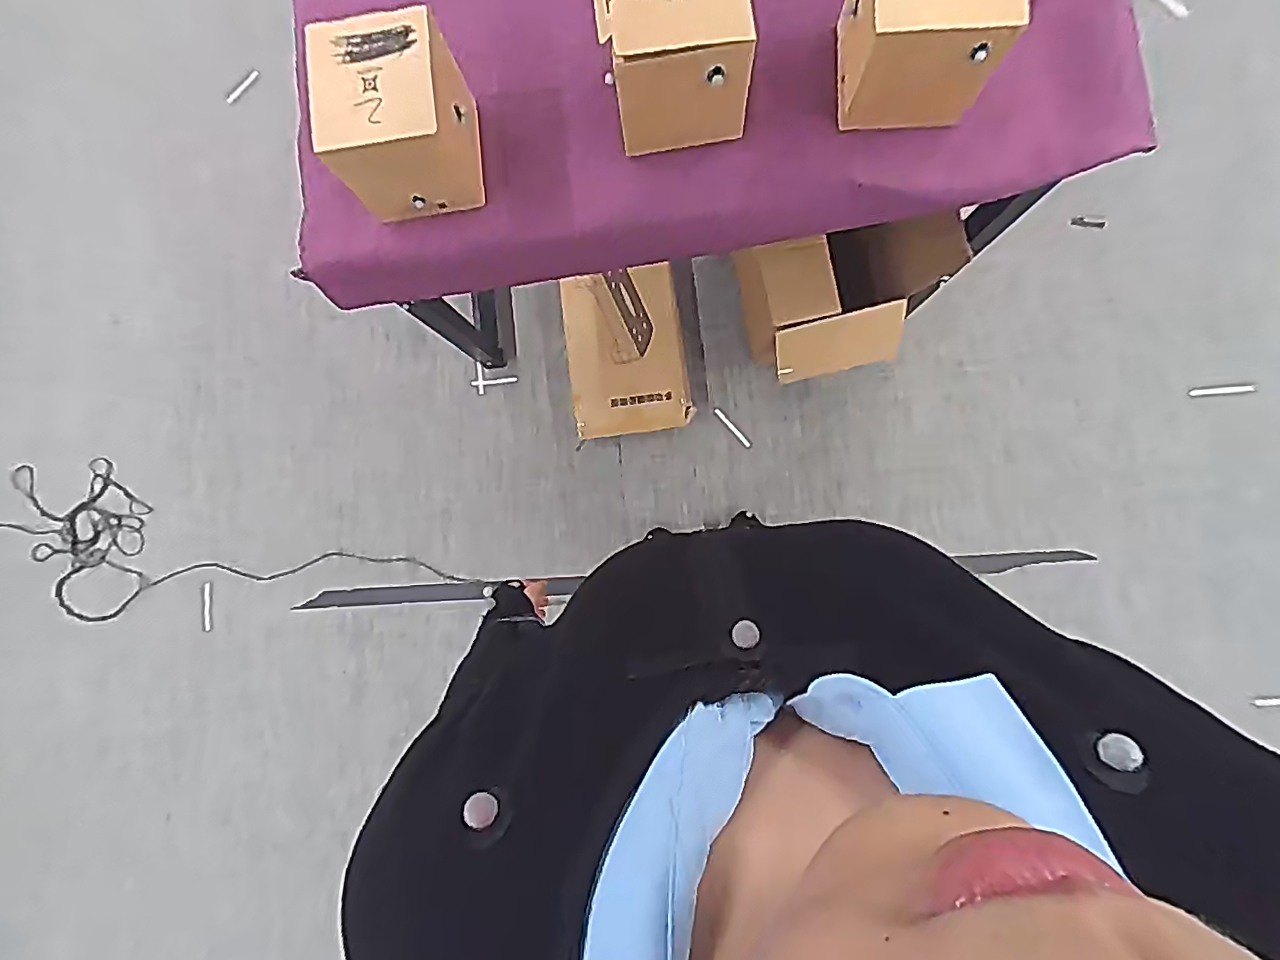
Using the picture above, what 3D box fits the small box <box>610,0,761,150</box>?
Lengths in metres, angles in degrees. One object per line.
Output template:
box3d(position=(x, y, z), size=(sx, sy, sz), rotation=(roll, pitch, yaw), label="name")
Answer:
box3d(position=(0.056, -0.586, 0.730), size=(0.179, 0.176, 0.168), rotation=(-7, 84, 4), label="small box")

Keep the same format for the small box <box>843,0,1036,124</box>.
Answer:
box3d(position=(0.373, -0.600, 0.707), size=(0.179, 0.176, 0.168), rotation=(0, 87, 4), label="small box")
